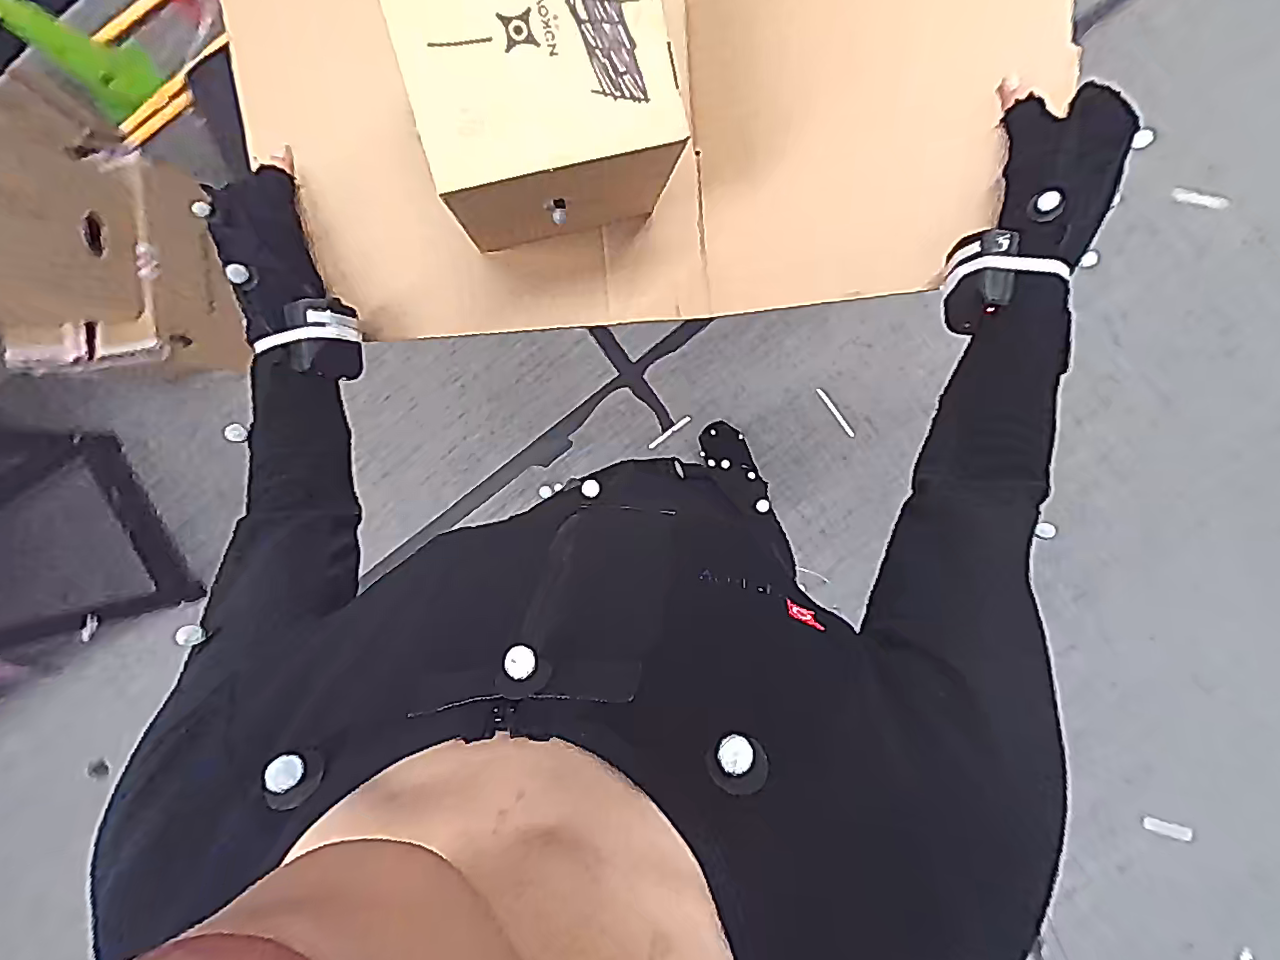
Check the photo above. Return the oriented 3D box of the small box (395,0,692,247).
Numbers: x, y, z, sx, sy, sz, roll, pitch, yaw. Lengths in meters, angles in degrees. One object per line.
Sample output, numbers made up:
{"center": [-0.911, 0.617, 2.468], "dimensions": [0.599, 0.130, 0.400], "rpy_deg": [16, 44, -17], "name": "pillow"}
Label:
{"center": [-0.073, -0.302, 0.432], "dimensions": [0.179, 0.176, 0.168], "rpy_deg": [-14, 102, -4], "name": "small box"}
